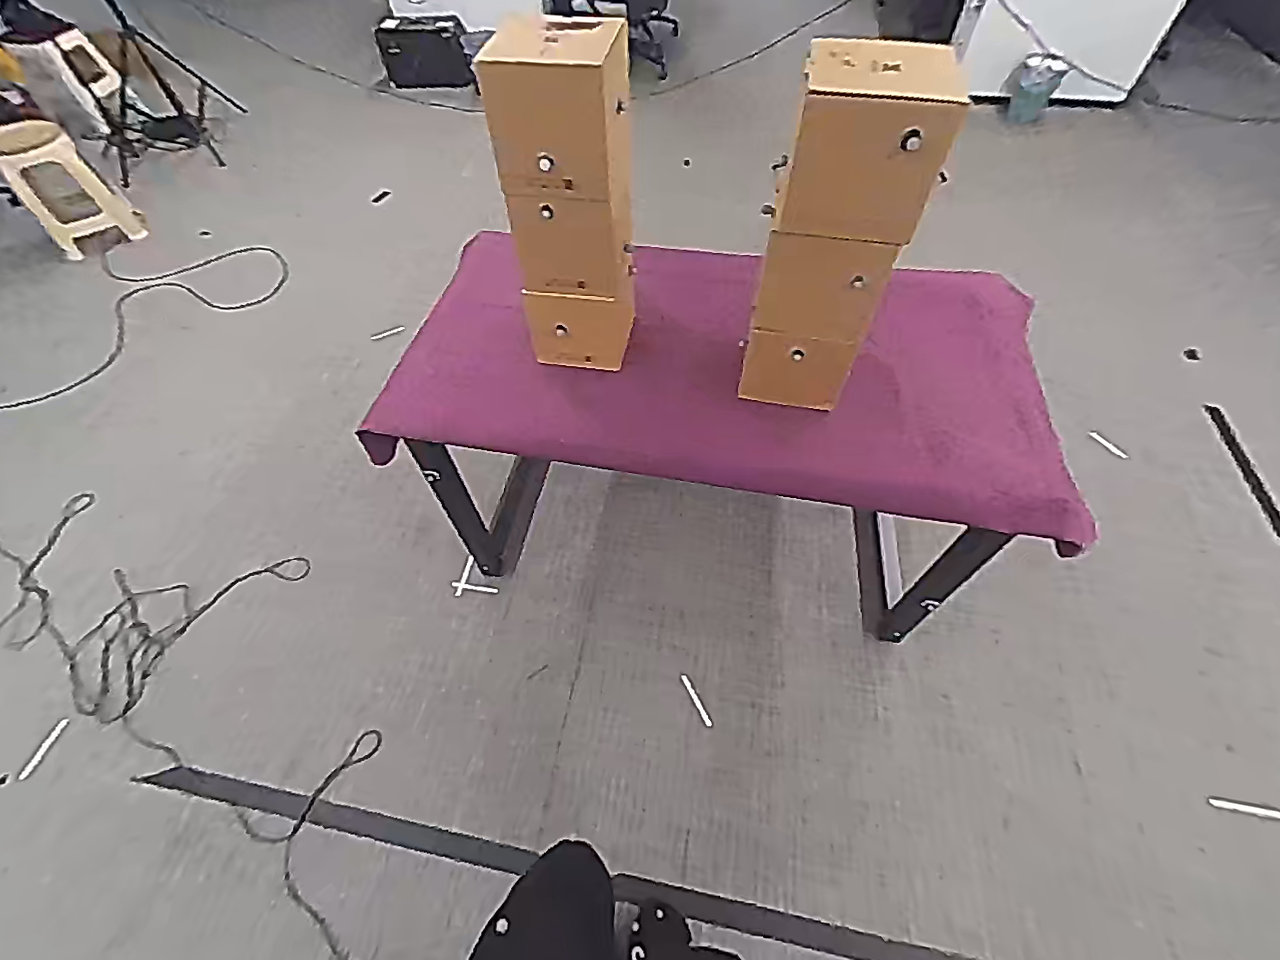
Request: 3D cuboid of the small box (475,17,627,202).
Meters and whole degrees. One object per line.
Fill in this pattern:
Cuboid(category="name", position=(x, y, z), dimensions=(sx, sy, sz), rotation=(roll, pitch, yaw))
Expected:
Cuboid(category="small box", position=(-0.112, -0.528, 0.773), dimensions=(0.168, 0.176, 0.179), rotation=(6, 56, 6))

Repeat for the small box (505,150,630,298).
Cuboid(category="small box", position=(-0.109, -0.434, 0.909), dimensions=(0.168, 0.176, 0.179), rotation=(5, 54, 6))

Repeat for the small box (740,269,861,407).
Cuboid(category="small box", position=(0.282, -0.251, 0.970), dimensions=(0.179, 0.176, 0.168), rotation=(10, 56, 7))

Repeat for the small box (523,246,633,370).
Cuboid(category="small box", position=(-0.108, -0.333, 1.038), dimensions=(0.168, 0.176, 0.179), rotation=(7, 55, 6))

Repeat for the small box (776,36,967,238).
Cuboid(category="small box", position=(0.283, -0.436, 0.697), dimensions=(0.179, 0.176, 0.168), rotation=(9, 55, 8))
